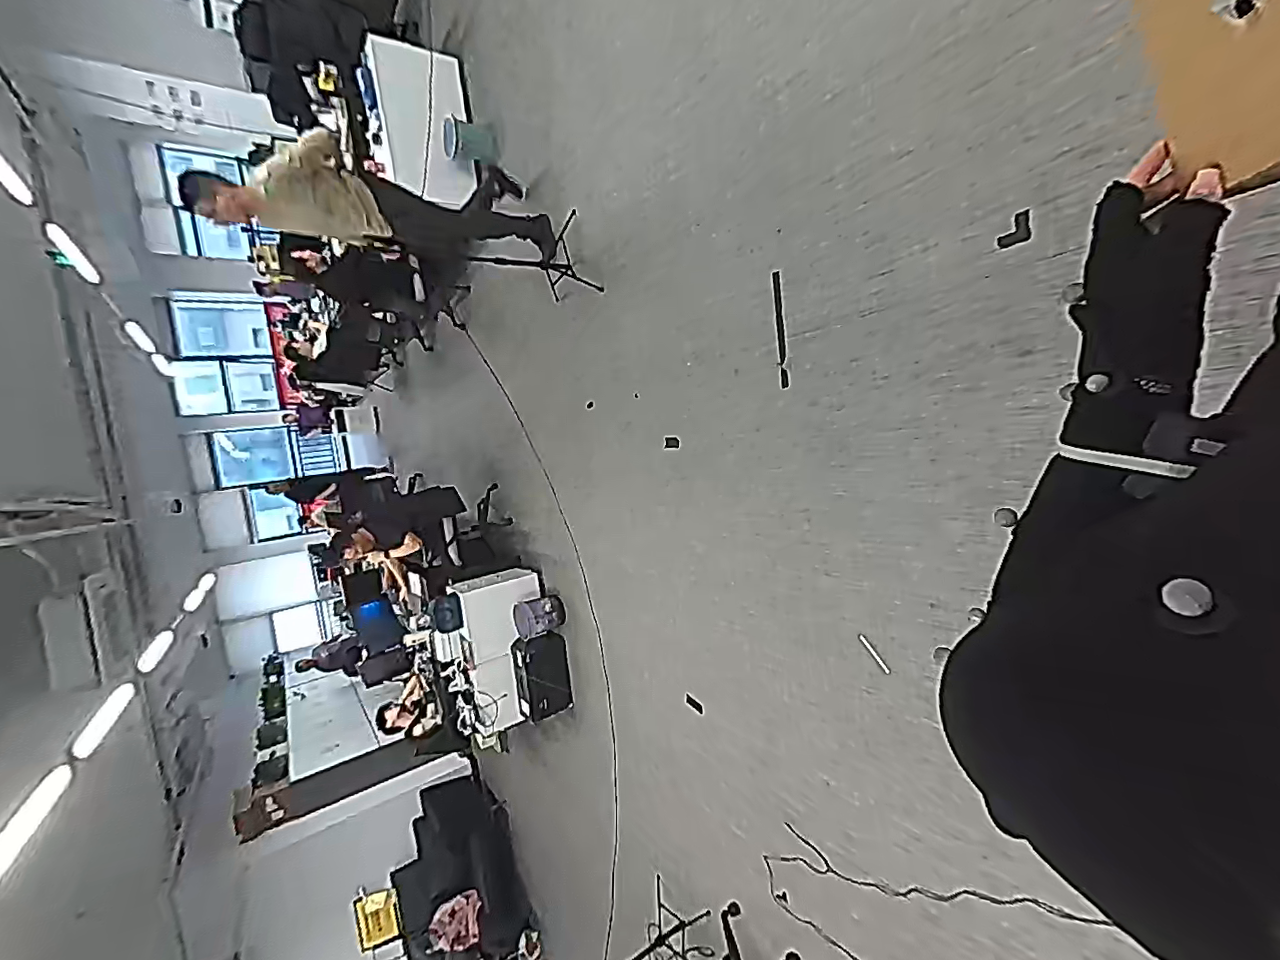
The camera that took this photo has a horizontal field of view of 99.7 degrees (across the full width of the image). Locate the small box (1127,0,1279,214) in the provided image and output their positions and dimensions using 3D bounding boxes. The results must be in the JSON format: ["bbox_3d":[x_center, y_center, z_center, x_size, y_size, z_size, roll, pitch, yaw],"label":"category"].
[{"bbox_3d":[0.386,-0.268,0.258,0.179,0.168,0.176,-16,93,20],"label":"small box"}]
